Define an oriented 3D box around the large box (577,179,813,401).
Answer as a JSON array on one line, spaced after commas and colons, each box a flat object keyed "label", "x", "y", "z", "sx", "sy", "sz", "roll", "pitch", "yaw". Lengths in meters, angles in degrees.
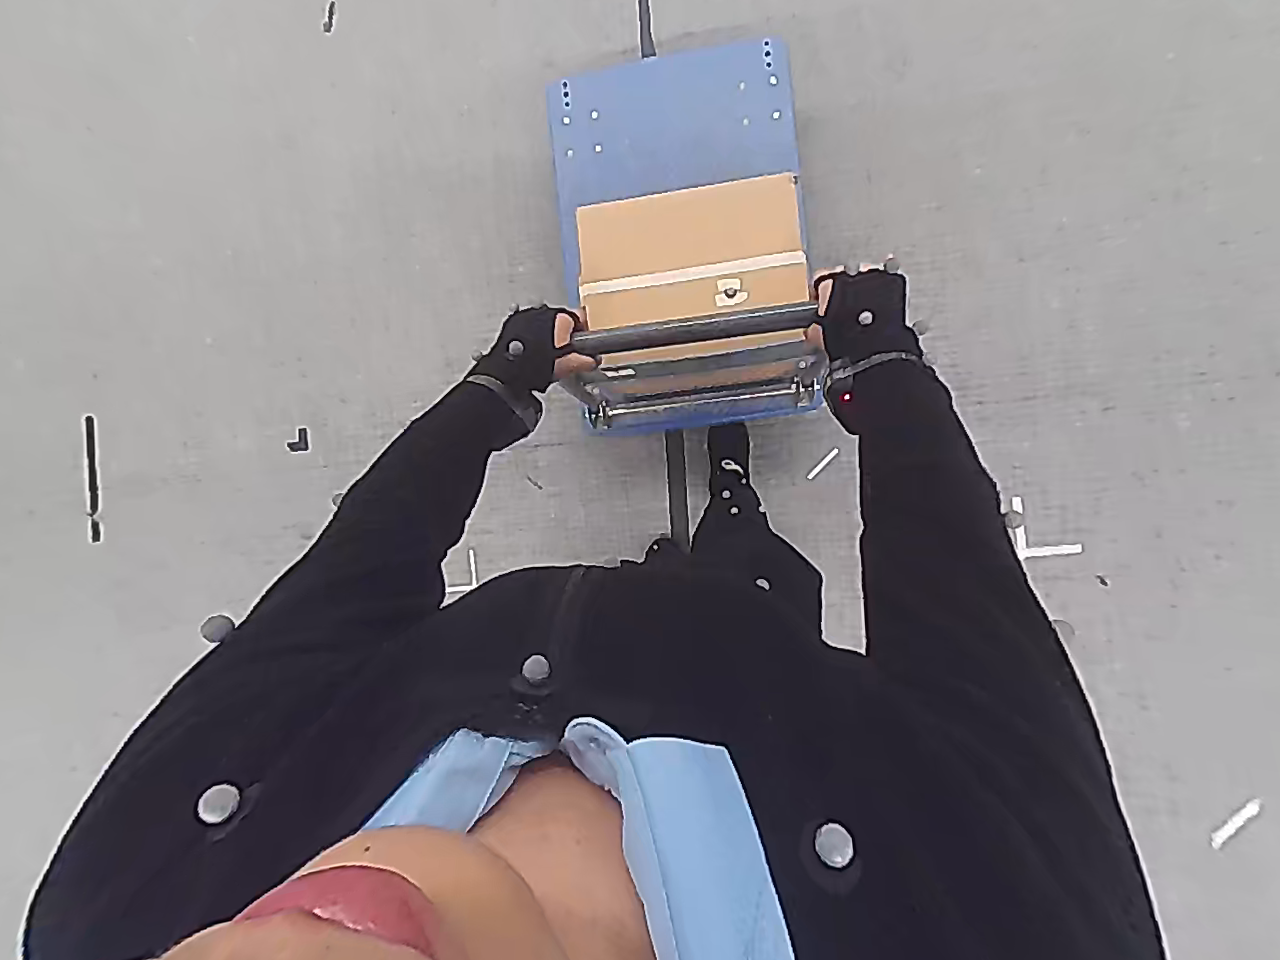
[{"label": "large box", "x": 0.108, "y": -0.361, "z": 1.125, "sx": 0.408, "sy": 0.320, "sz": 0.320, "roll": -6, "pitch": 91, "yaw": 6}]
